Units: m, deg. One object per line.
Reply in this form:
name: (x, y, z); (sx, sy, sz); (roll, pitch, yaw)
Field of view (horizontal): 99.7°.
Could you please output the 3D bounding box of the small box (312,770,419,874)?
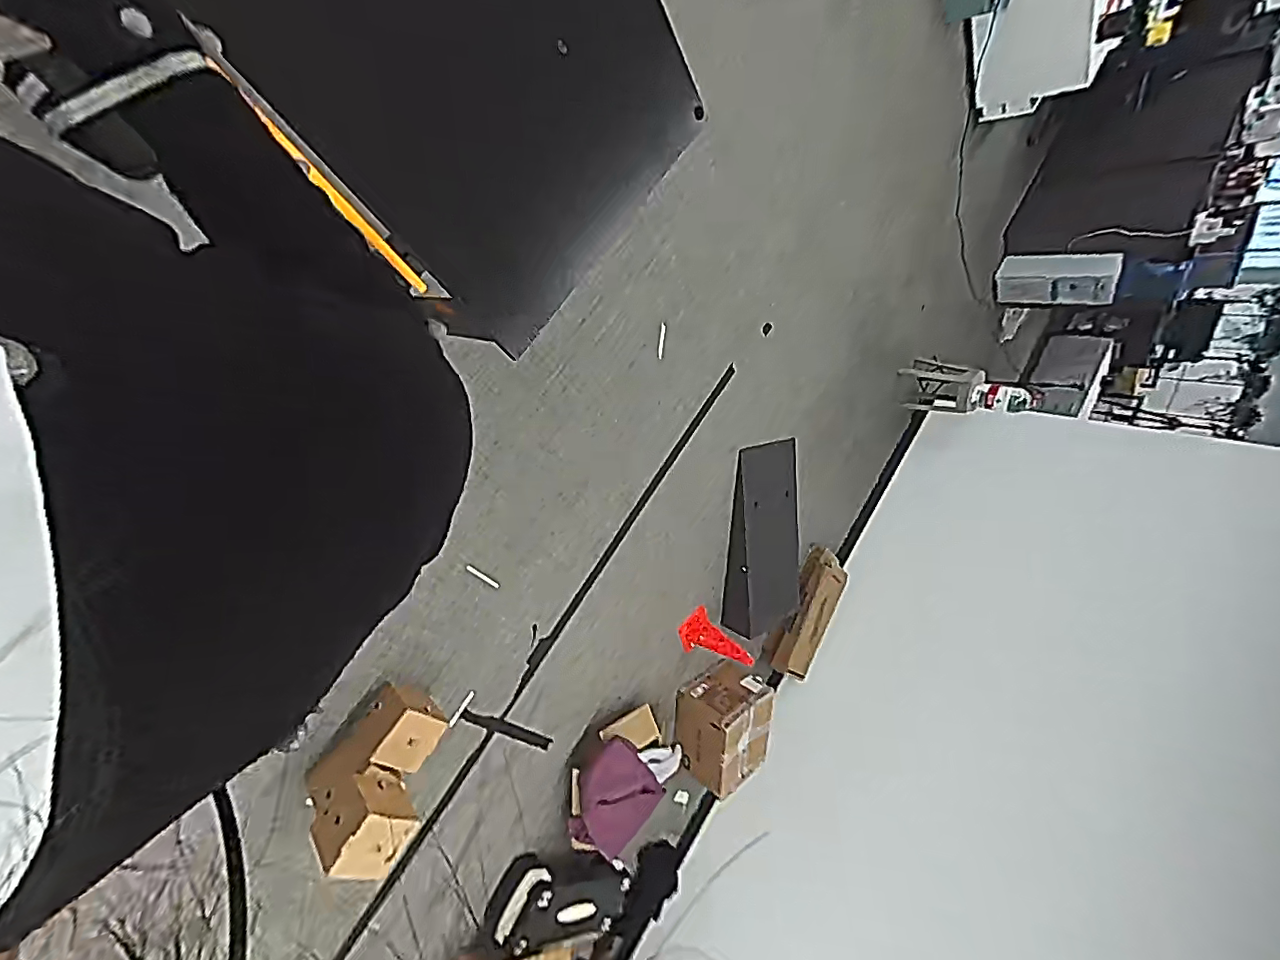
small box: (-0.745, 0.918, 1.460); (0.168, 0.176, 0.179); (-55, 134, -14)
